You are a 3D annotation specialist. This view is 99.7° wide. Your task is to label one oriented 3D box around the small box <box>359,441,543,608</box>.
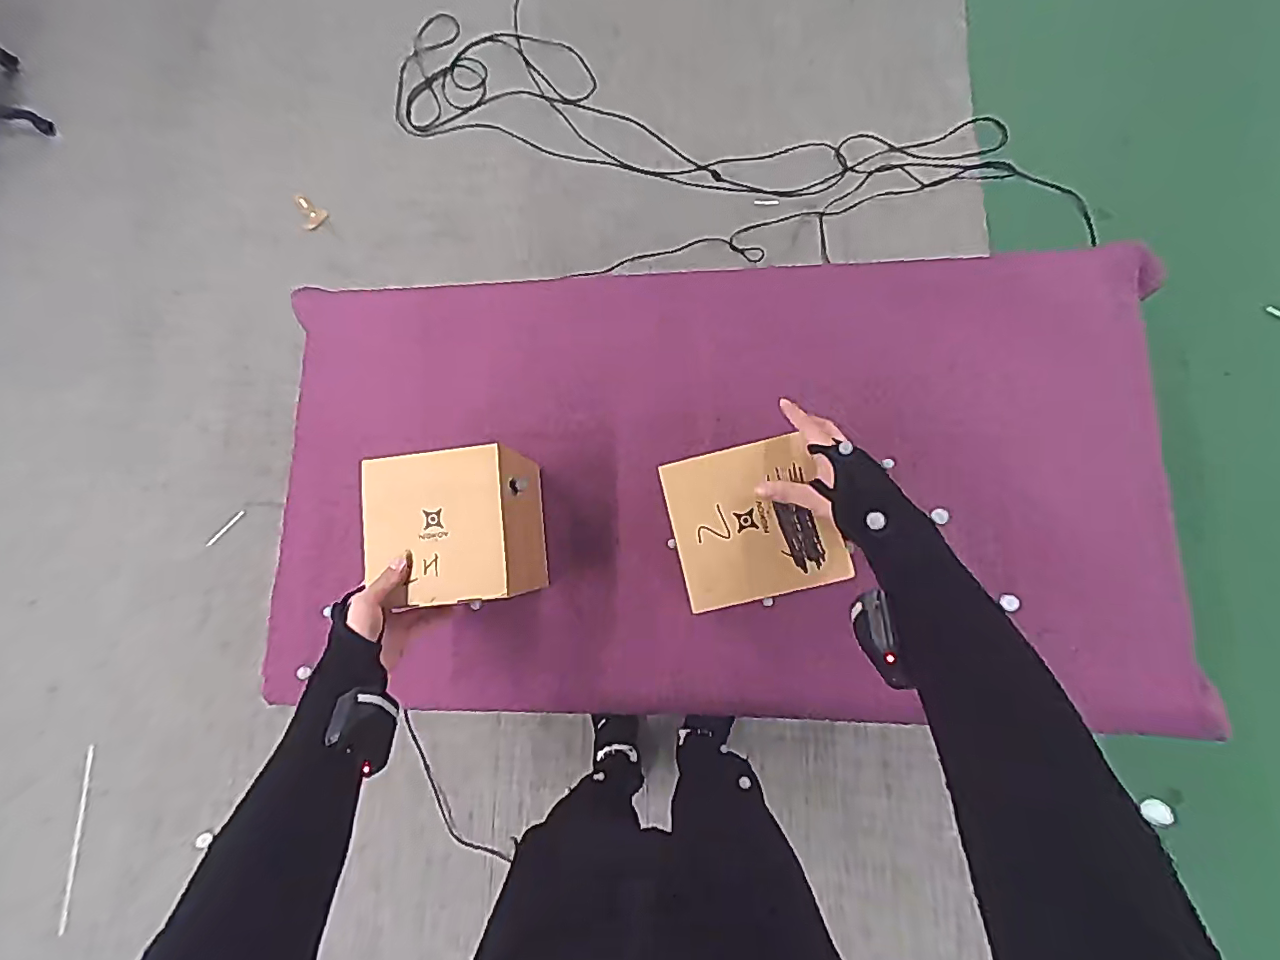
[{"bbox_3d":[-0.226,0.060,0.678,0.168,0.176,0.179,-6,82,5],"label":"small box"}]
